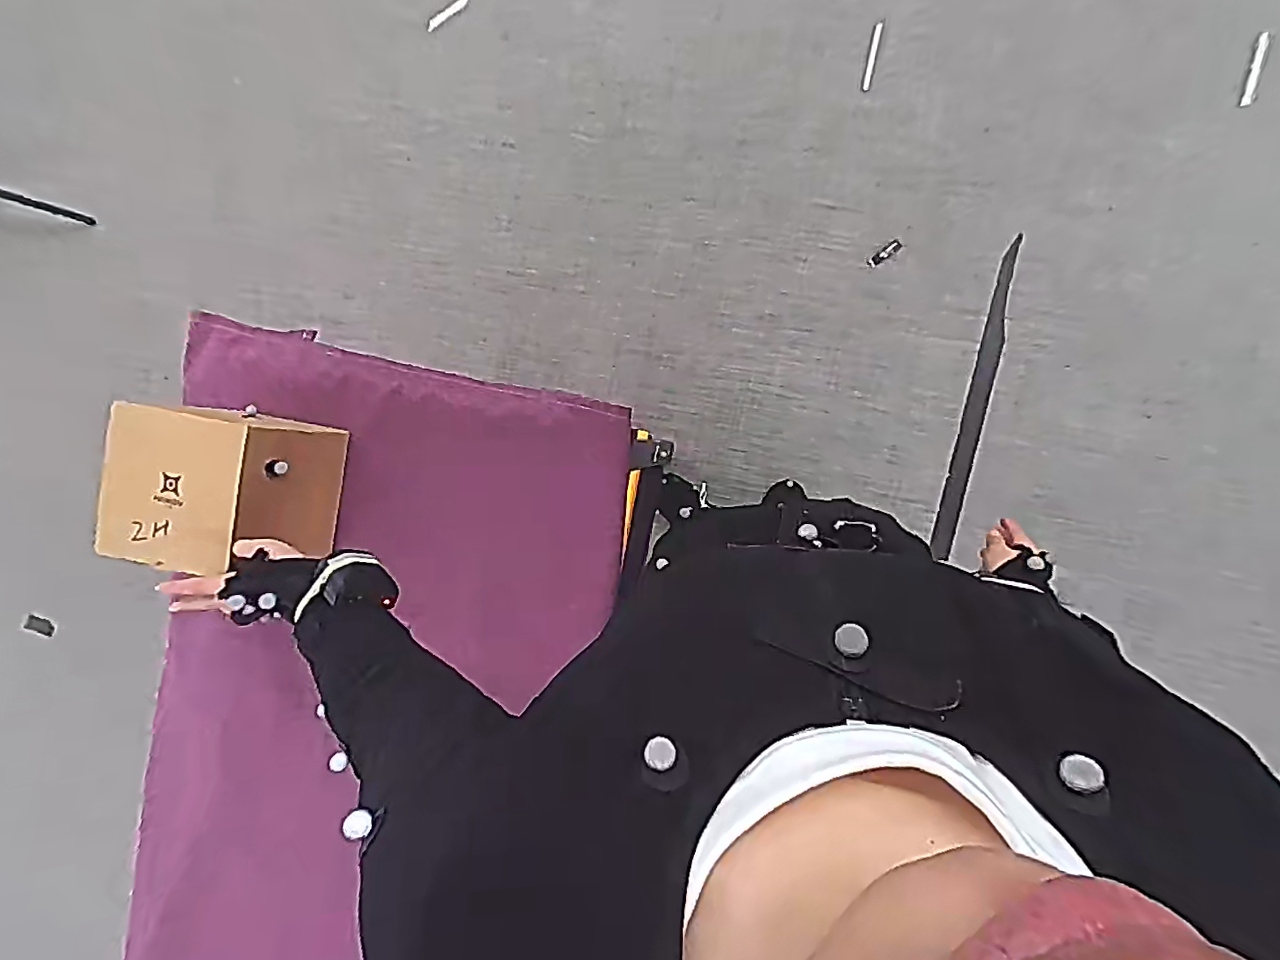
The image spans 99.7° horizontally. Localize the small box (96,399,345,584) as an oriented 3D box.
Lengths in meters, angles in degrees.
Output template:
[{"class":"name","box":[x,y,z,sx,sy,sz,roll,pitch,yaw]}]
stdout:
[{"class":"small box","box":[-0.493,0.009,0.660,0.168,0.176,0.179,11,94,7]}]
